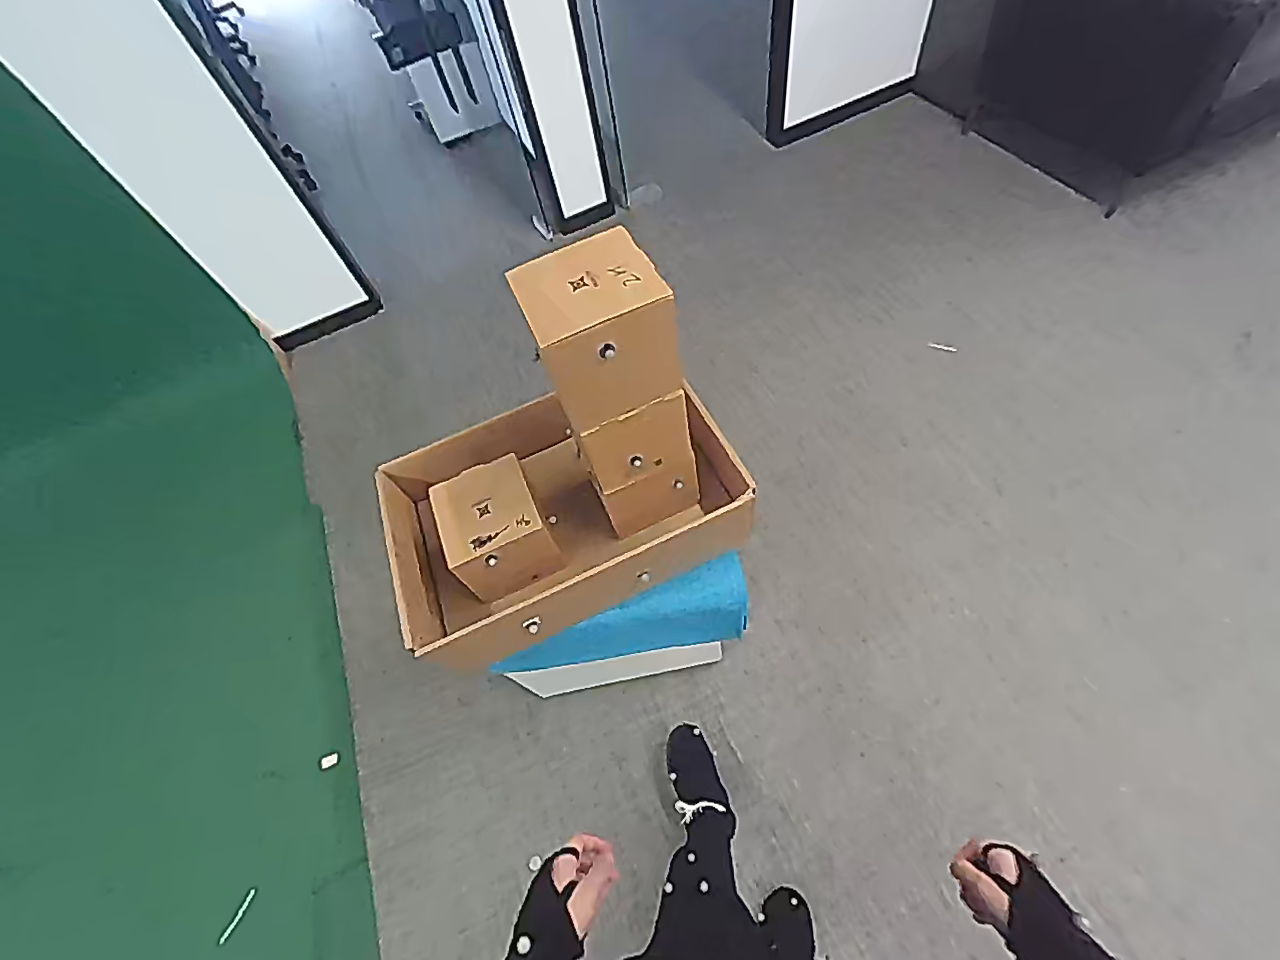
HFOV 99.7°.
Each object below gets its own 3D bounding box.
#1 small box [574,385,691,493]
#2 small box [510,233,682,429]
[{"bbox_3d":[-0.027,-0.110,0.886,0.168,0.176,0.179,-24,56,-5],"label":"small box"},{"bbox_3d":[-0.054,-0.199,0.748,0.179,0.176,0.168,-23,57,-5],"label":"small box"}]
